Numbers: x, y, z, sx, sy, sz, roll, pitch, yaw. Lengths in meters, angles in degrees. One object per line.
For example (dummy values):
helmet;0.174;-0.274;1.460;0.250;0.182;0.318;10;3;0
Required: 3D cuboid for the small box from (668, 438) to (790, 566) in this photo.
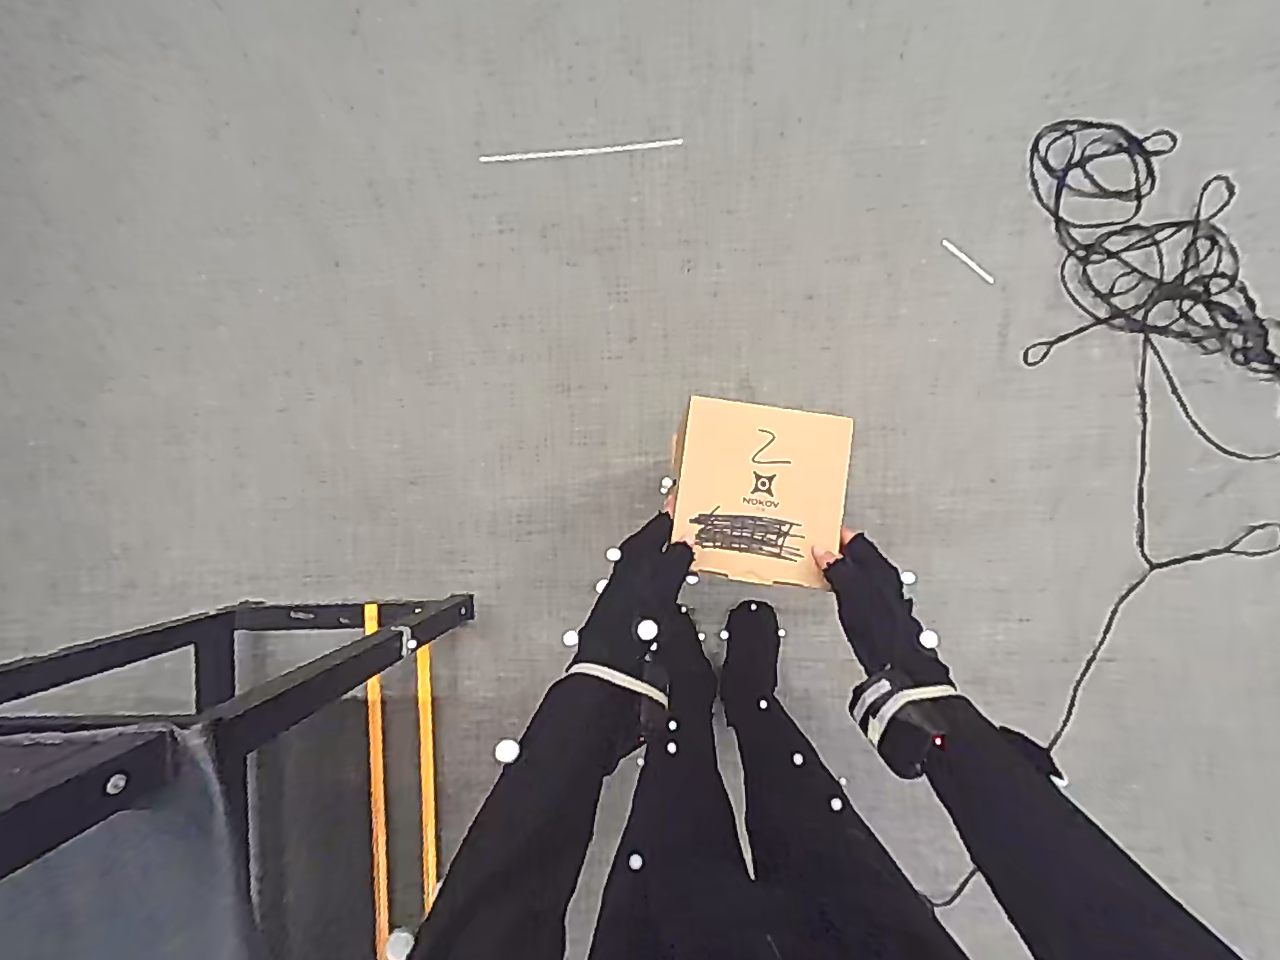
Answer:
small box;0.130;0.030;0.830;0.168;0.176;0.179;1;89;4
